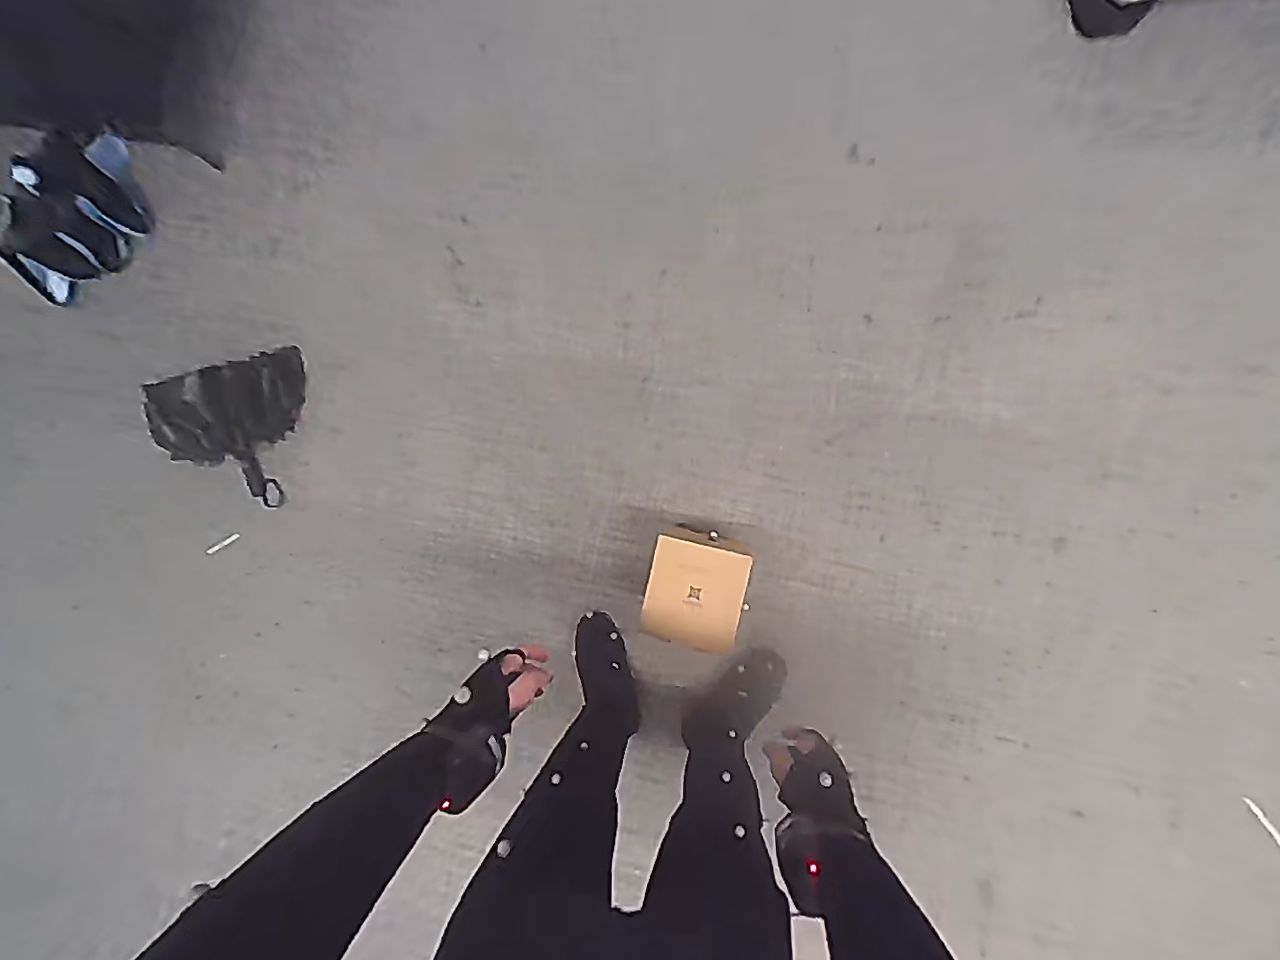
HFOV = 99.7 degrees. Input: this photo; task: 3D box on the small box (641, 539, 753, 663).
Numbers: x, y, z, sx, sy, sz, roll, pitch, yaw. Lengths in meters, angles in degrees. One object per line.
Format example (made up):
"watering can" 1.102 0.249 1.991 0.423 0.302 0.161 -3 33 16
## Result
"small box" 0.107 0.214 1.005 0.168 0.176 0.179 12 88 7
